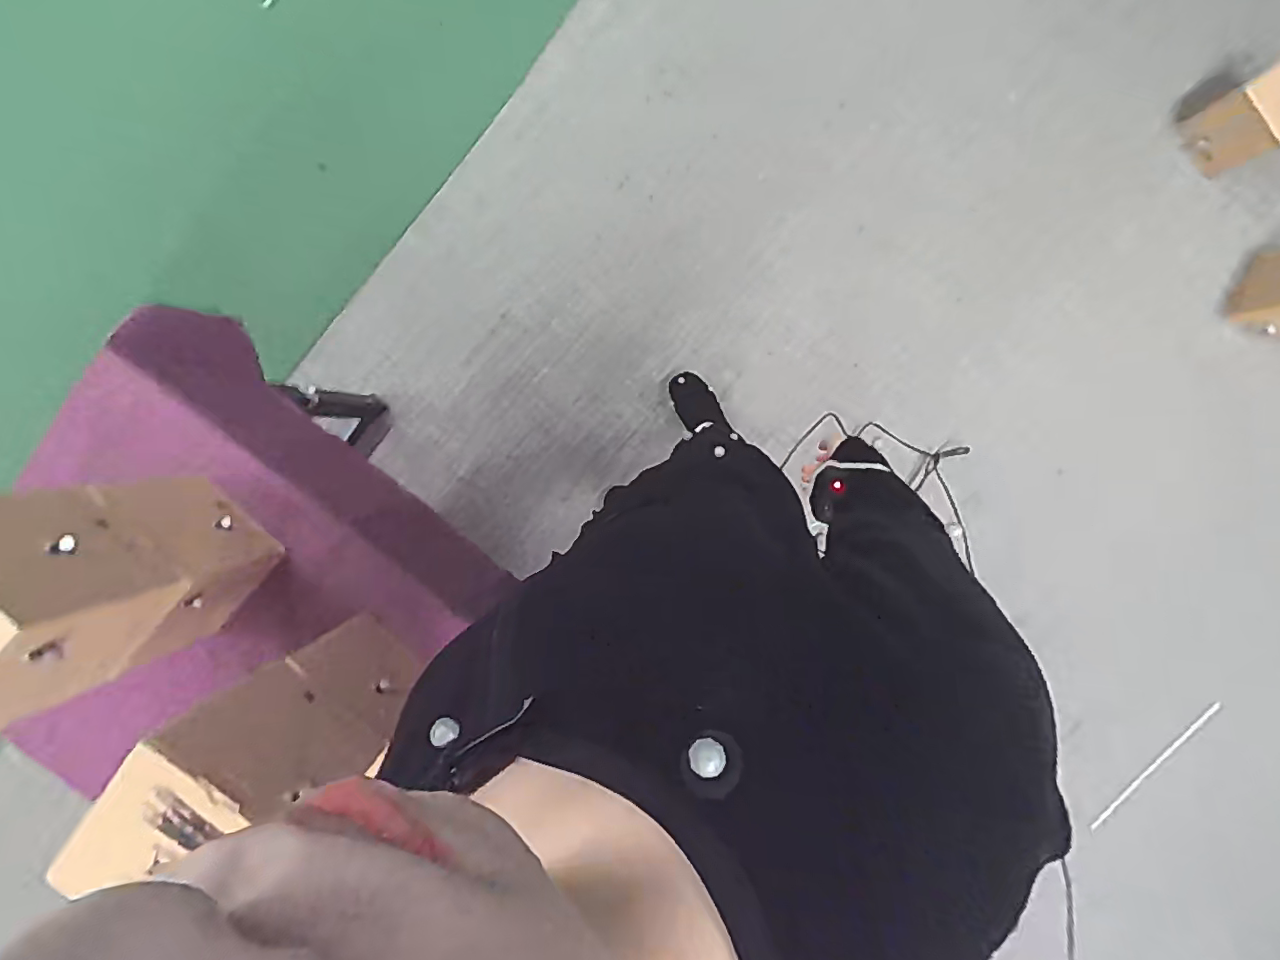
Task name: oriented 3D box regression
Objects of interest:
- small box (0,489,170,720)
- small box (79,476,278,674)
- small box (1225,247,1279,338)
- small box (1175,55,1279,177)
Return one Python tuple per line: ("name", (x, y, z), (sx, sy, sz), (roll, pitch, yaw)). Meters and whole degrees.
("small box", (-0.647, 0.125, 0.553), (0.168, 0.176, 0.179), (42, 95, -1))
("small box", (-0.640, 0.113, 0.718), (0.168, 0.176, 0.179), (43, 94, -2))
("small box", (1.604, -0.466, 1.309), (0.168, 0.176, 0.179), (23, 95, 1))
("small box", (1.456, -0.872, 1.284), (0.179, 0.176, 0.168), (-36, 92, 4))
